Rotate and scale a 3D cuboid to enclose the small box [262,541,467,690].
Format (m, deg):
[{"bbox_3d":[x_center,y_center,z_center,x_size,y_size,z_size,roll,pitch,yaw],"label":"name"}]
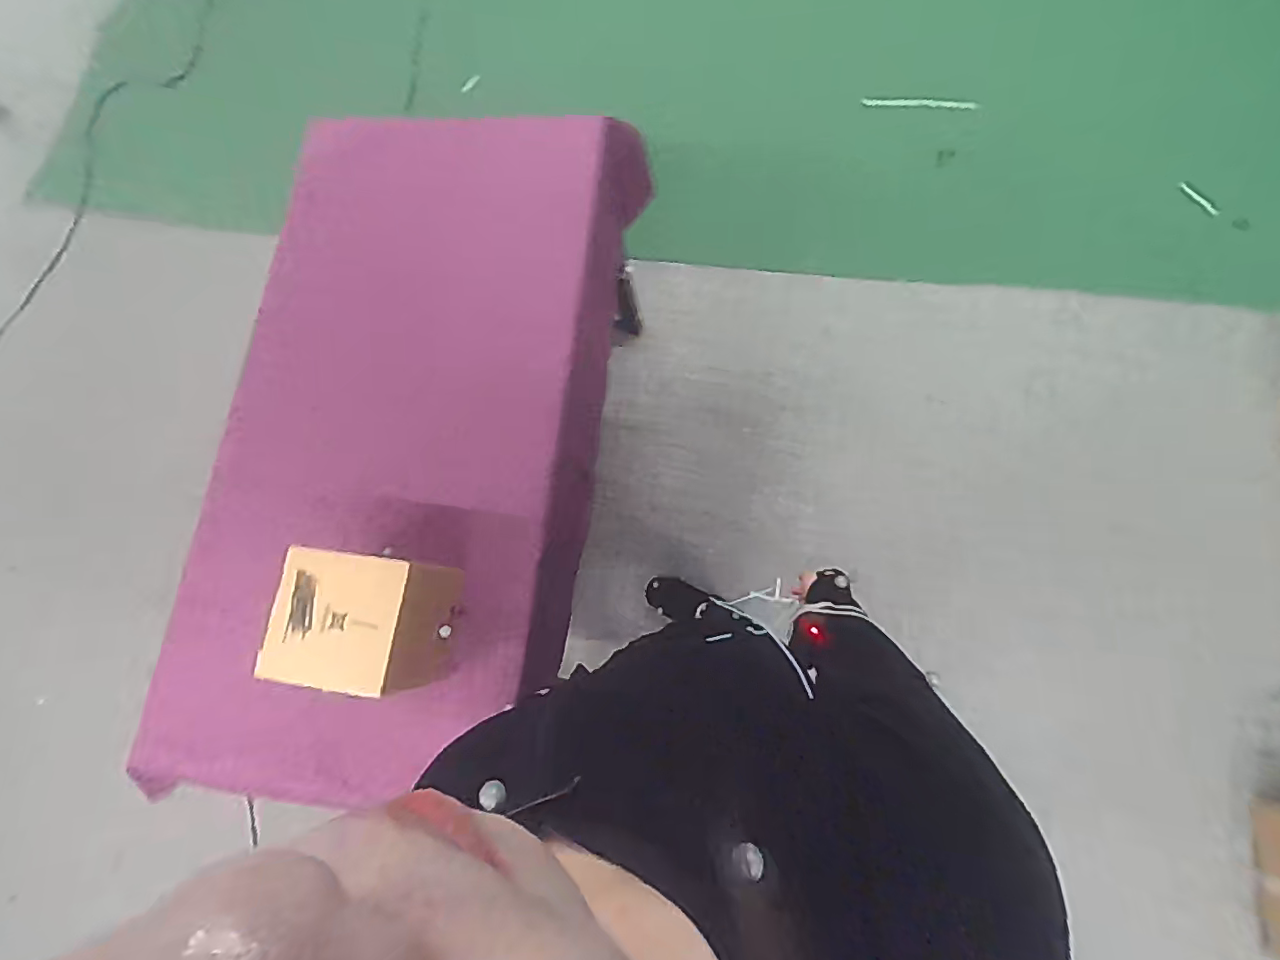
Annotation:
[{"bbox_3d":[-0.373,0.187,0.763,0.179,0.176,0.168,6,78,8],"label":"small box"}]
